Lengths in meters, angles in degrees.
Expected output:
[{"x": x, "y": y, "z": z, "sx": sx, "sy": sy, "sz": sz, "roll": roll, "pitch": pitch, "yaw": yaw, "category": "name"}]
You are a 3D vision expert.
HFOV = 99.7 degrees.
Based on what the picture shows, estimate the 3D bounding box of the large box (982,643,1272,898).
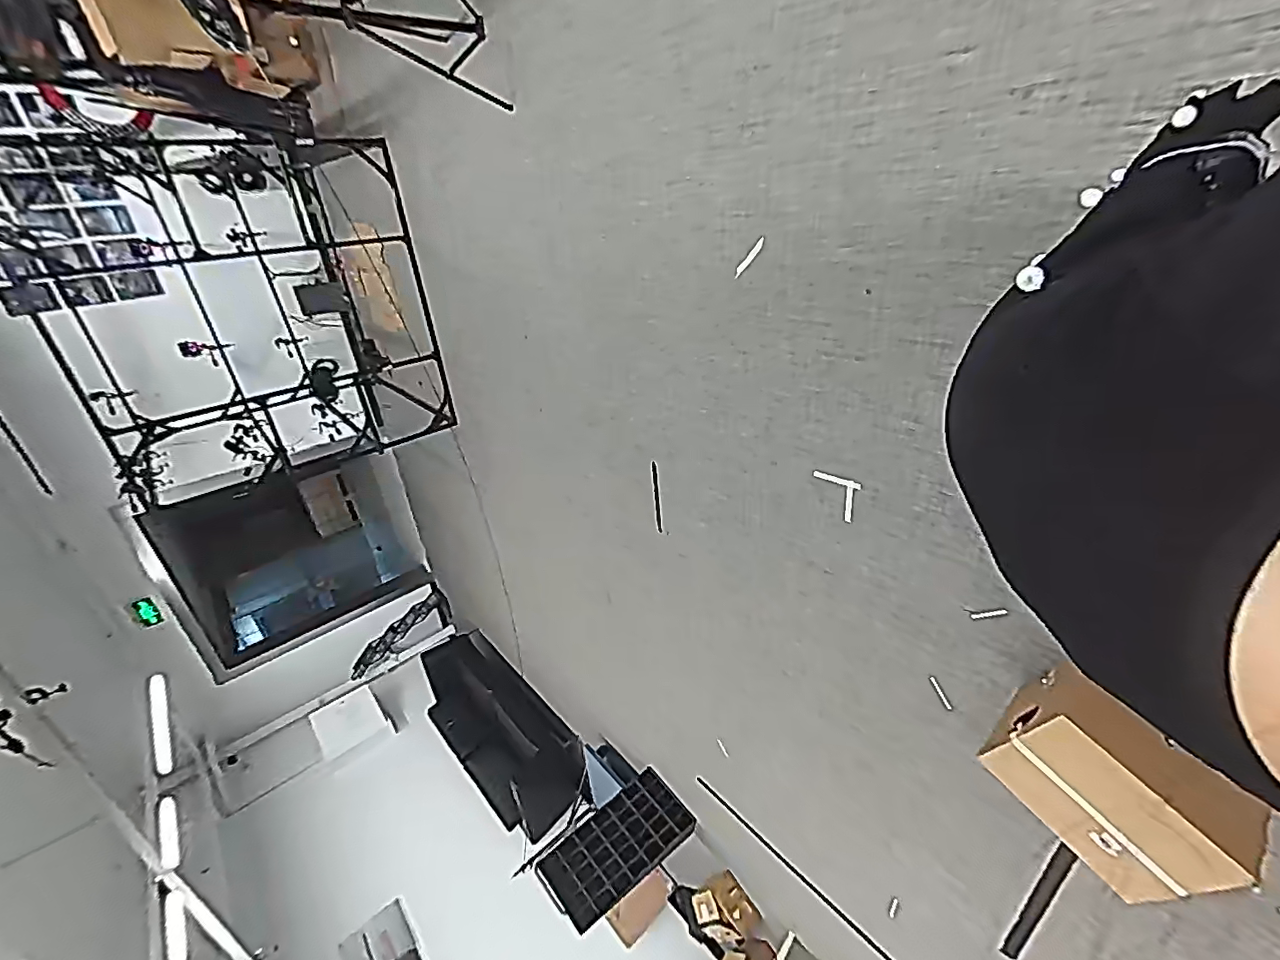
[{"x": 1.168, "y": 0.694, "z": 1.326, "sx": 0.408, "sy": 0.320, "sz": 0.320, "roll": 45, "pitch": 142, "yaw": 26, "category": "large box"}]
